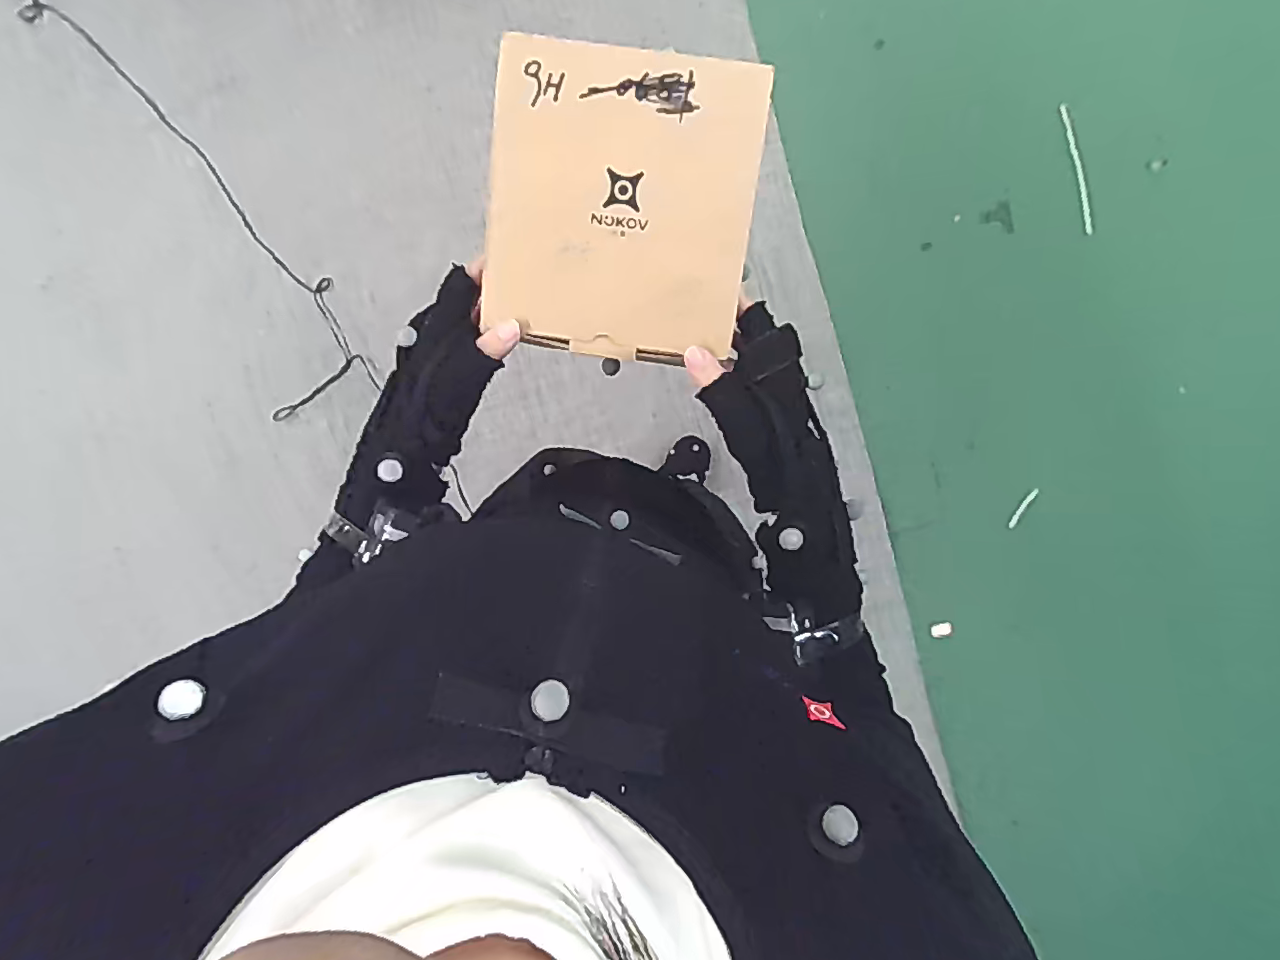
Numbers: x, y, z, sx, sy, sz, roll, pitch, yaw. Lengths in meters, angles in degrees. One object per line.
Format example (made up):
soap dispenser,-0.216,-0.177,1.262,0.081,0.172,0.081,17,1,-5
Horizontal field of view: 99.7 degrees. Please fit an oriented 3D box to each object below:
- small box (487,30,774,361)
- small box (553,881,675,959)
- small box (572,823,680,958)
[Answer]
small box,-0.006,-0.189,0.412,0.168,0.176,0.179,7,103,2
small box,-0.040,0.857,0.951,0.179,0.176,0.168,-16,92,4
small box,-0.023,0.848,1.115,0.179,0.176,0.168,-16,92,6
